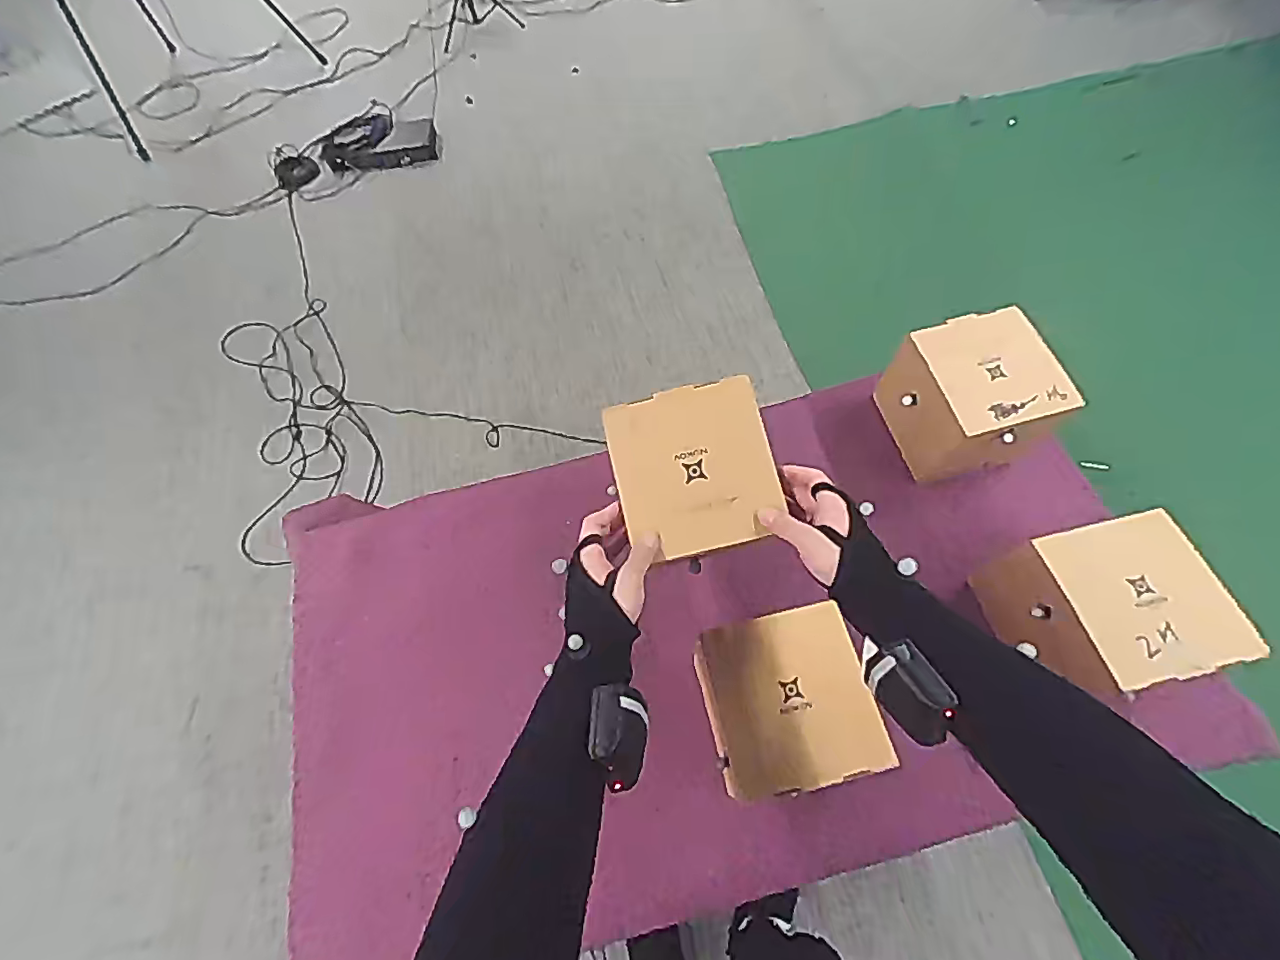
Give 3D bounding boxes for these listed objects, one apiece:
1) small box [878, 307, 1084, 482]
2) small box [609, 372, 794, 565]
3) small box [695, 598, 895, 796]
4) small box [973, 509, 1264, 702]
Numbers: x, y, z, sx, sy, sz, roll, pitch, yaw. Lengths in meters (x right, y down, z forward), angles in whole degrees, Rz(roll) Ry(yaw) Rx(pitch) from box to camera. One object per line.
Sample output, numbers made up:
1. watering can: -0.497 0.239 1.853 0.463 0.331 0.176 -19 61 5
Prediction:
1. small box: 0.484 -0.121 0.805 0.168 0.176 0.179 -14 66 -1
2. small box: 0.065 -0.002 0.644 0.168 0.176 0.179 -13 79 1
3. small box: 0.166 0.262 0.651 0.168 0.176 0.179 -12 64 -2
4. small box: 0.557 0.161 0.667 0.168 0.176 0.179 -13 63 -1
